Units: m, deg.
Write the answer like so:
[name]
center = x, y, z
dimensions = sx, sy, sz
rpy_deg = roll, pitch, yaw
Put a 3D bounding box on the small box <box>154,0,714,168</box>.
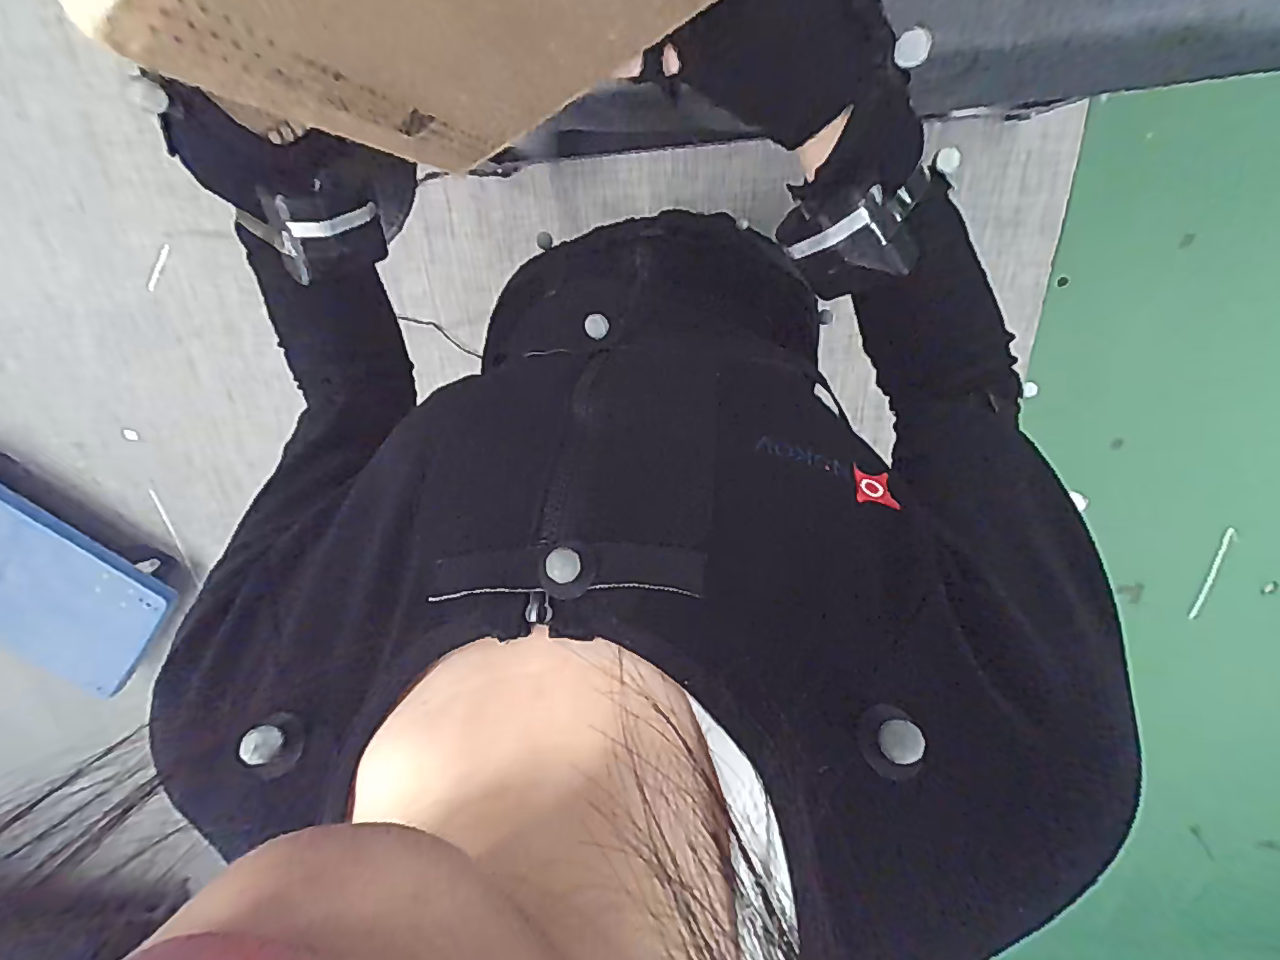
[small box]
center = -0.074, -0.243, 0.168
dimensions = 0.176, 0.168, 0.179
rpy_deg = -20, 98, 24
